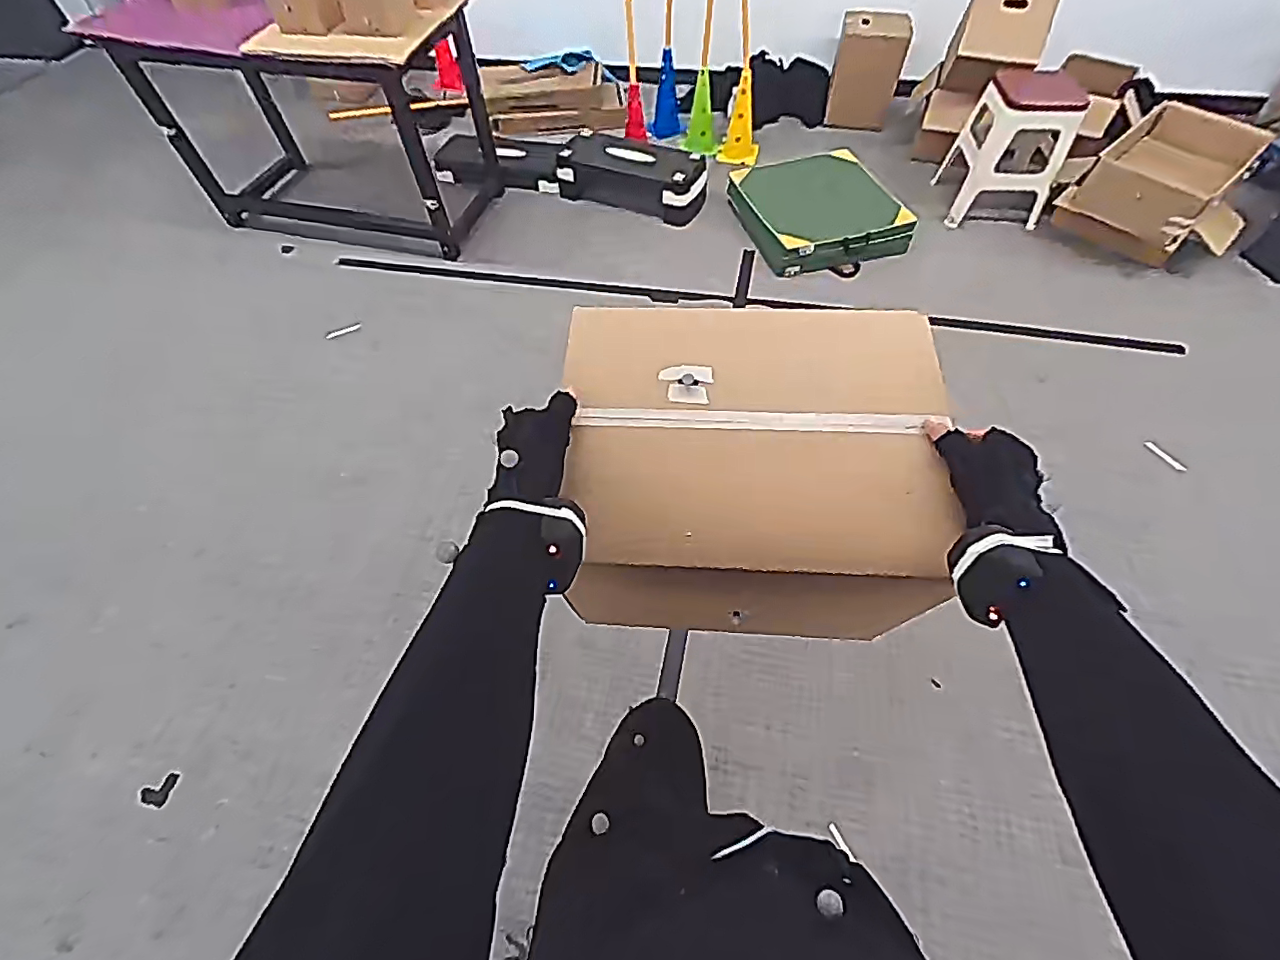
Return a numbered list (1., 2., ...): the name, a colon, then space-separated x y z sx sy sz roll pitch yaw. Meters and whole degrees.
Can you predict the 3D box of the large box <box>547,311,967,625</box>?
1. large box: 0.126 0.004 0.710 0.408 0.320 0.320 2 64 6
